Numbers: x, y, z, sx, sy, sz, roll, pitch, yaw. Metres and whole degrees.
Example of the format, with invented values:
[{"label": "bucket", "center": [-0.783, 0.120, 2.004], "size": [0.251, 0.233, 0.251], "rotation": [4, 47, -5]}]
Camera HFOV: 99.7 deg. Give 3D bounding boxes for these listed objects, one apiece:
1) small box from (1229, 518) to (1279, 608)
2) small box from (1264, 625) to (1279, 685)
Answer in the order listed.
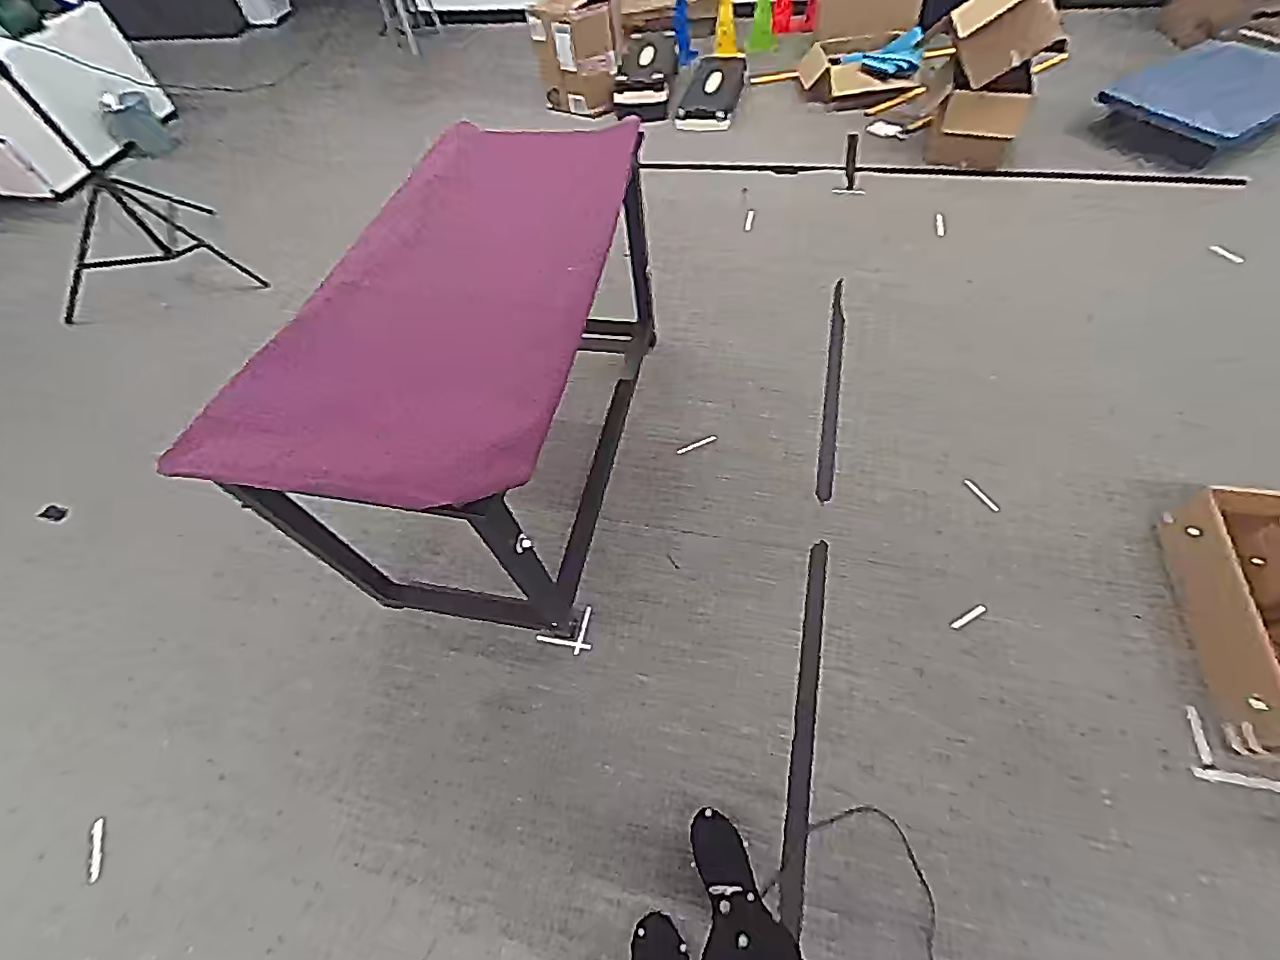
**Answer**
[{"label": "small box", "center": [1.574, 0.207, 1.285], "size": [0.179, 0.176, 0.168], "rotation": [6, 60, 10]}, {"label": "small box", "center": [1.549, 0.391, 1.173], "size": [0.179, 0.176, 0.168], "rotation": [11, 57, 14]}]
